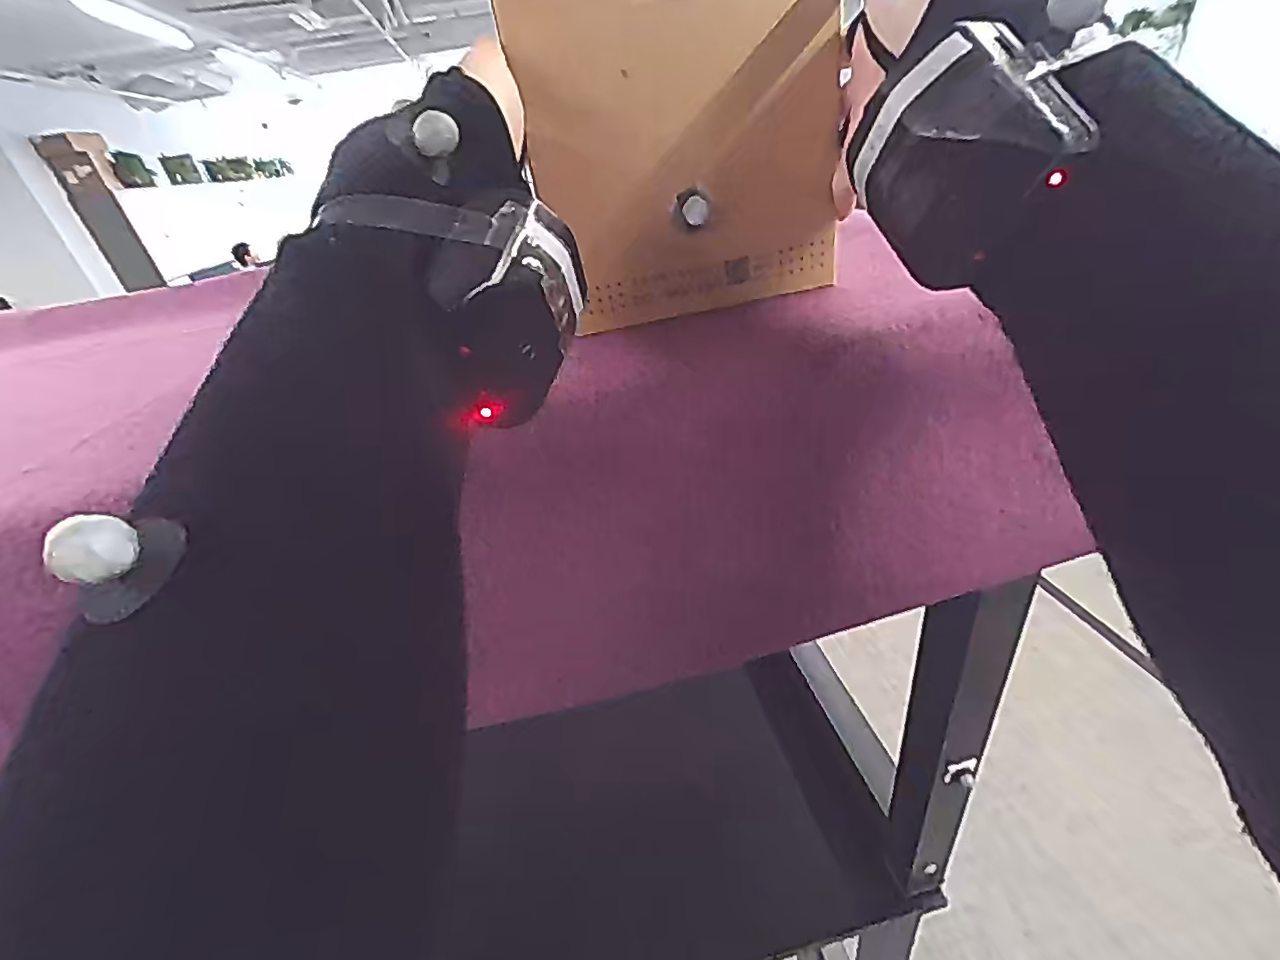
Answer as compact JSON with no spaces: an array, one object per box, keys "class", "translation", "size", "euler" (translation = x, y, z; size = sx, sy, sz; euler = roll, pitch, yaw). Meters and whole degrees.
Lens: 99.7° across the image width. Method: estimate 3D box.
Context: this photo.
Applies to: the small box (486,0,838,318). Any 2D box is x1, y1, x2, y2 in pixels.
[{"class":"small box","translation":[0.009,-0.215,0.347],"size":[0.168,0.176,0.179],"euler":[-12,31,-2]}]
